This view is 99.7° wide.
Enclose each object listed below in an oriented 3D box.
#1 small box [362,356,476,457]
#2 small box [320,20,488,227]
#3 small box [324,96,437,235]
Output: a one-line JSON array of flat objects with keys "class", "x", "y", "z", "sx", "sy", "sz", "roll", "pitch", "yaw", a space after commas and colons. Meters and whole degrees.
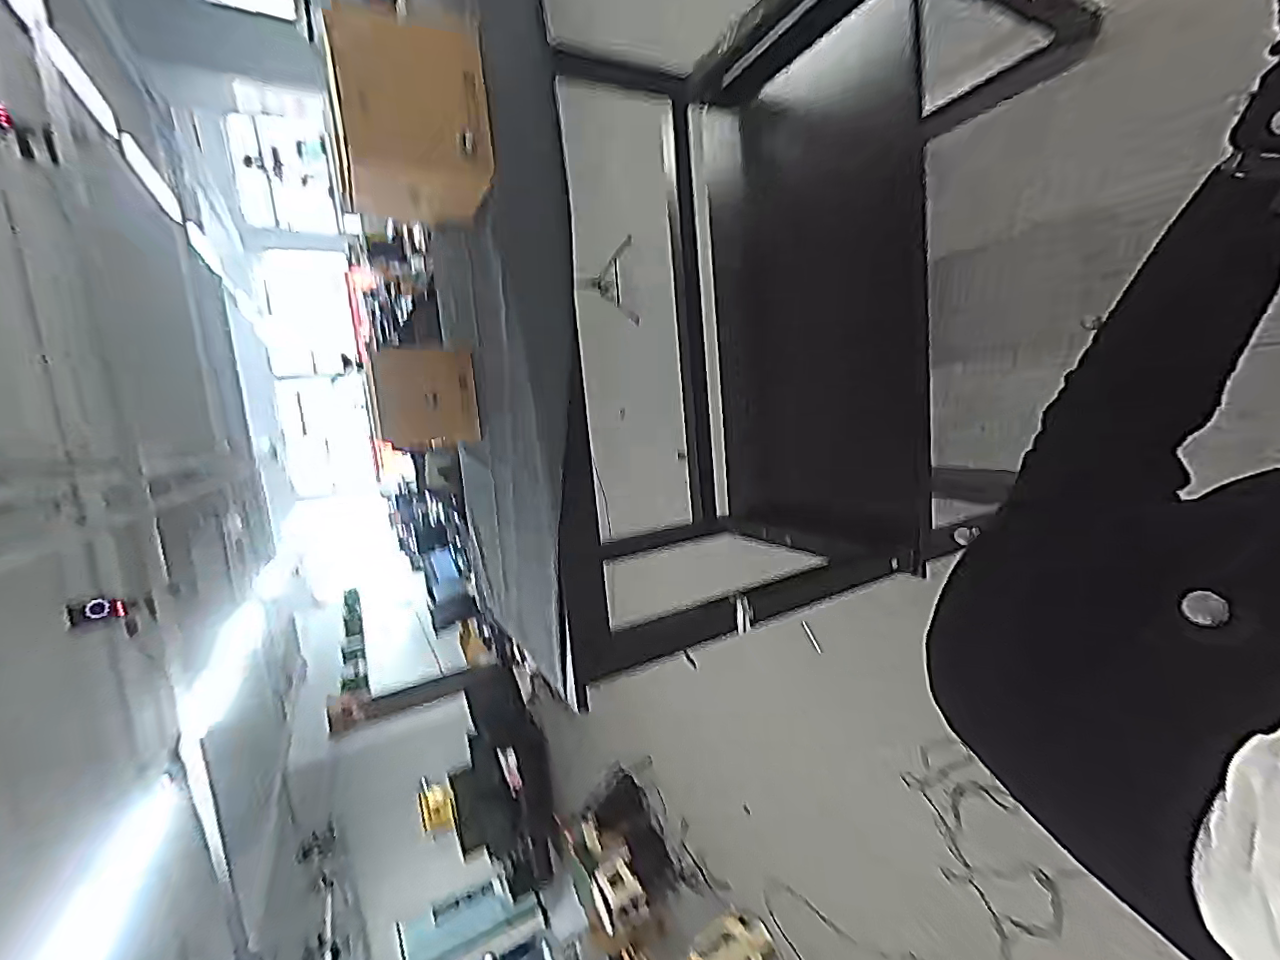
[{"class": "small box", "x": -0.409, "y": -0.137, "z": 1.009, "sx": 0.179, "sy": 0.176, "sz": 0.168, "roll": 7, "pitch": 104, "yaw": 61}, {"class": "small box", "x": -0.302, "y": -0.444, "z": 0.708, "sx": 0.179, "sy": 0.176, "sz": 0.168, "roll": 11, "pitch": 109, "yaw": 63}, {"class": "small box", "x": -0.452, "y": -0.545, "z": 0.964, "sx": 0.179, "sy": 0.176, "sz": 0.168, "roll": 19, "pitch": 114, "yaw": 59}]
